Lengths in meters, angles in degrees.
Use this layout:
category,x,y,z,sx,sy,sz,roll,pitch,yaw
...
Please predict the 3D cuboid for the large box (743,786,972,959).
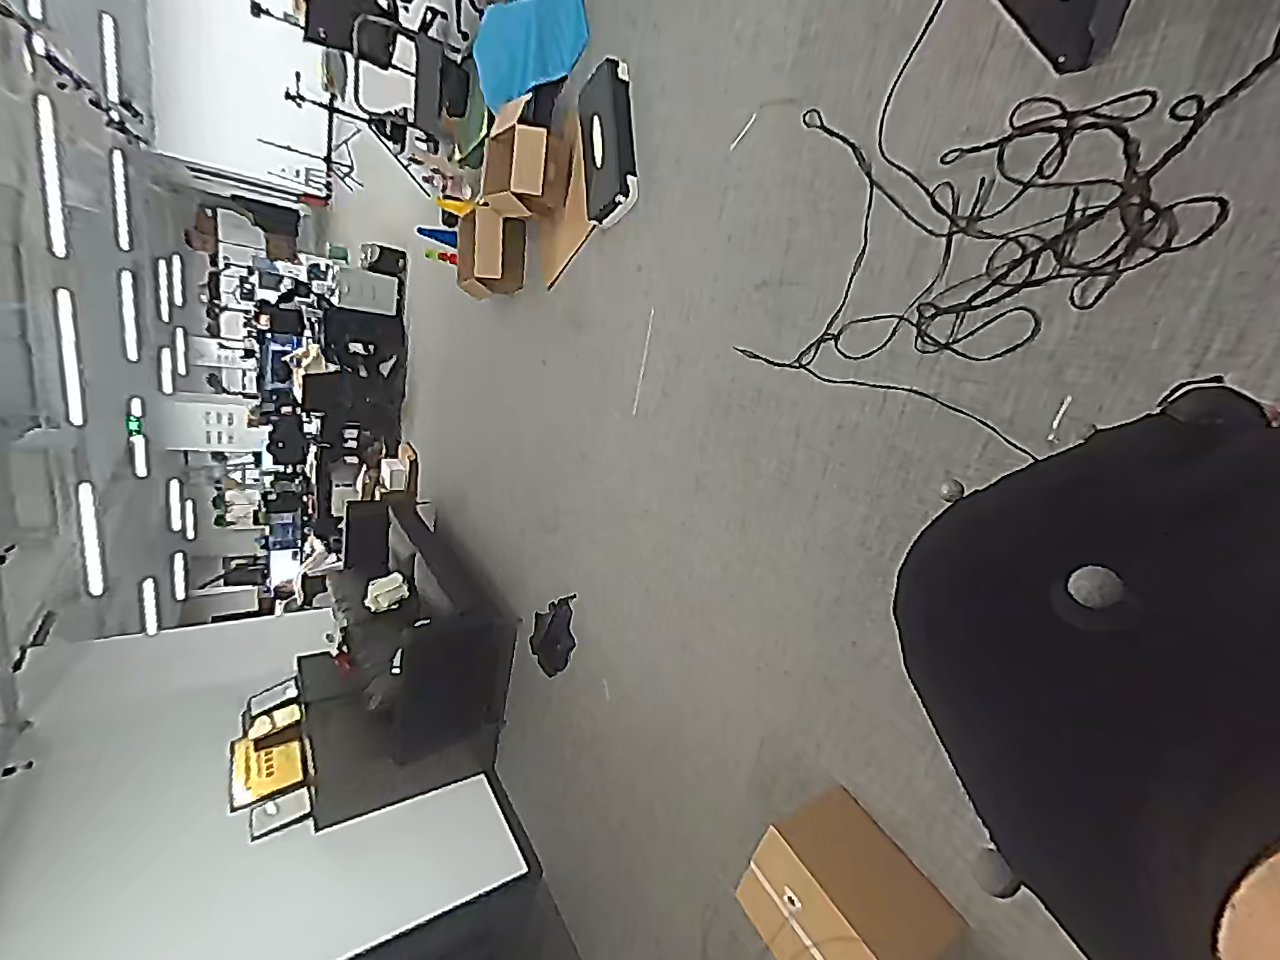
category,x,y,z,sx,sy,sz,roll,pitch,yaw
large box,0.553,1.124,1.426,0.408,0.320,0.320,42,123,47
